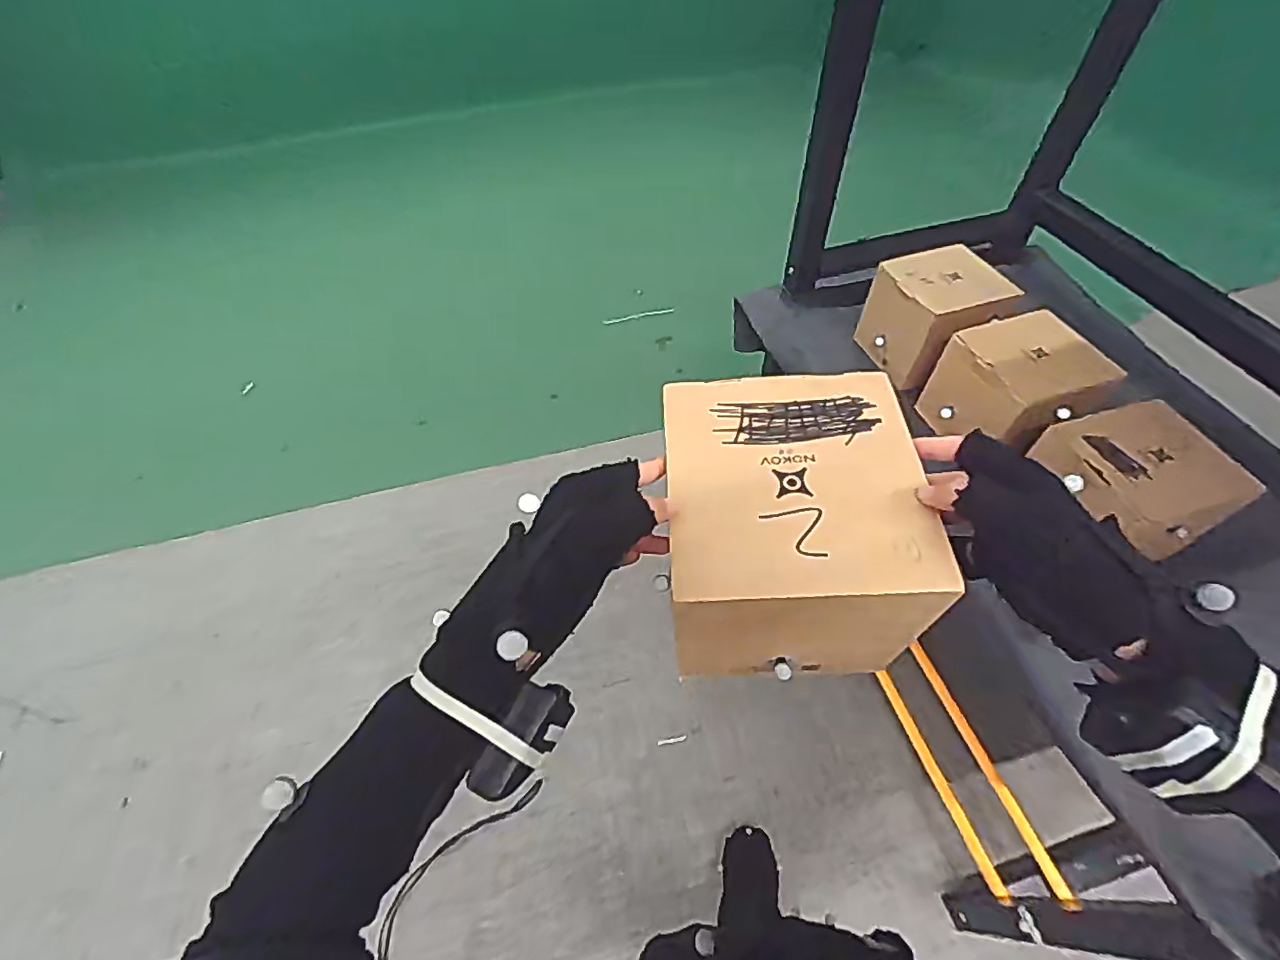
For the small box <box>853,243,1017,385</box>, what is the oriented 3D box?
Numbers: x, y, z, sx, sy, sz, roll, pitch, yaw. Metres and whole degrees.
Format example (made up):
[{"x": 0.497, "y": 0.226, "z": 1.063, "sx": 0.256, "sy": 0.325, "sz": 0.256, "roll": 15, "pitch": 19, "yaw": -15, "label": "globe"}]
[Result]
[{"x": 0.528, "y": -0.303, "z": 0.998, "sx": 0.179, "sy": 0.176, "sz": 0.168, "roll": -16, "pitch": 54, "yaw": -9, "label": "small box"}]
